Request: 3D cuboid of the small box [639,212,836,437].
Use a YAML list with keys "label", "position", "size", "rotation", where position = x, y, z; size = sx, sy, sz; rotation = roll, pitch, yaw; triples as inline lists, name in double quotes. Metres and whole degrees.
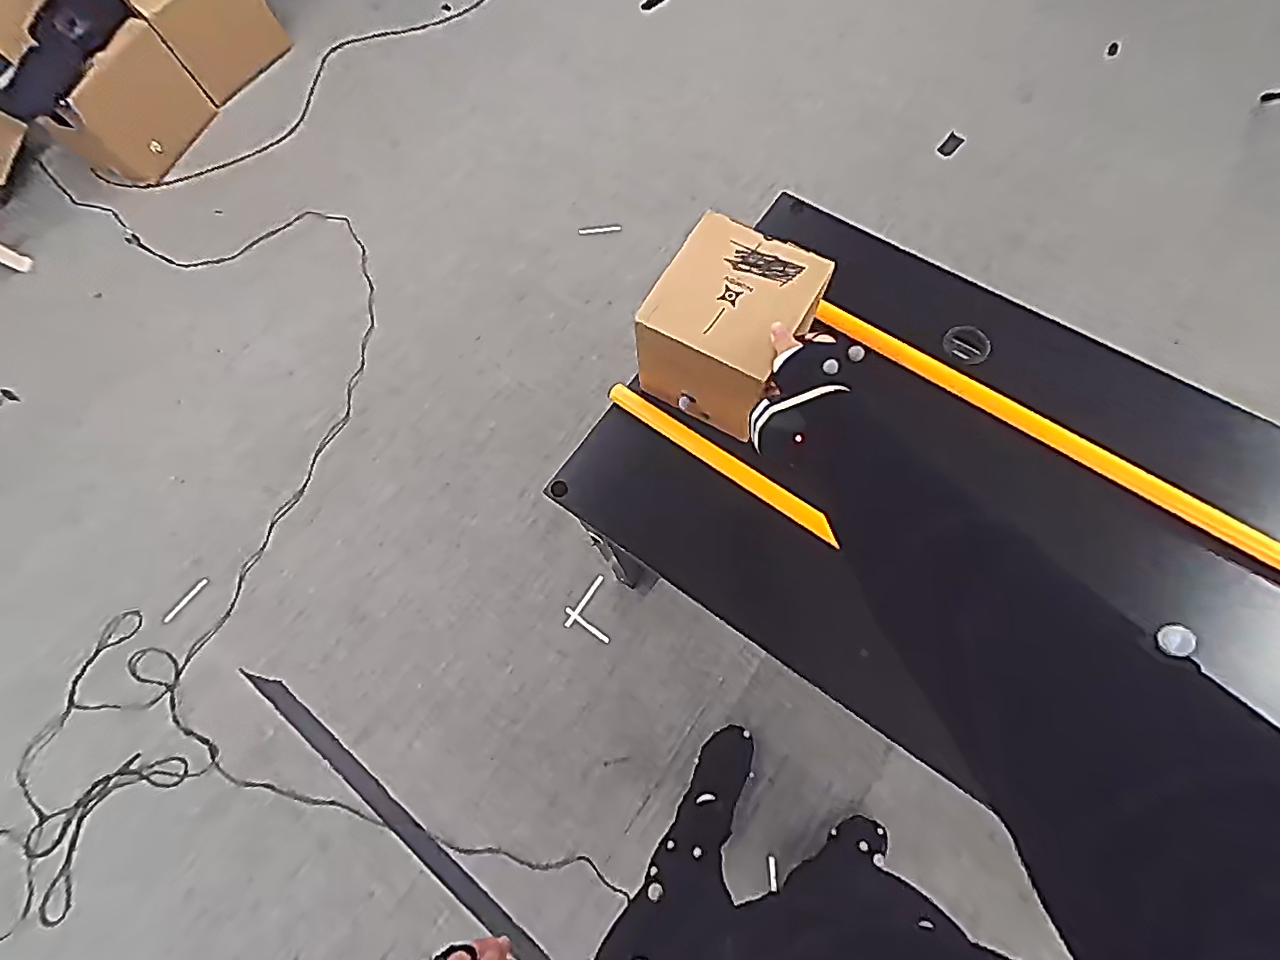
- label: "small box"
  position: [0.114, -0.186, 0.682]
  size: [0.168, 0.176, 0.179]
  rotation: [29, 76, 13]
